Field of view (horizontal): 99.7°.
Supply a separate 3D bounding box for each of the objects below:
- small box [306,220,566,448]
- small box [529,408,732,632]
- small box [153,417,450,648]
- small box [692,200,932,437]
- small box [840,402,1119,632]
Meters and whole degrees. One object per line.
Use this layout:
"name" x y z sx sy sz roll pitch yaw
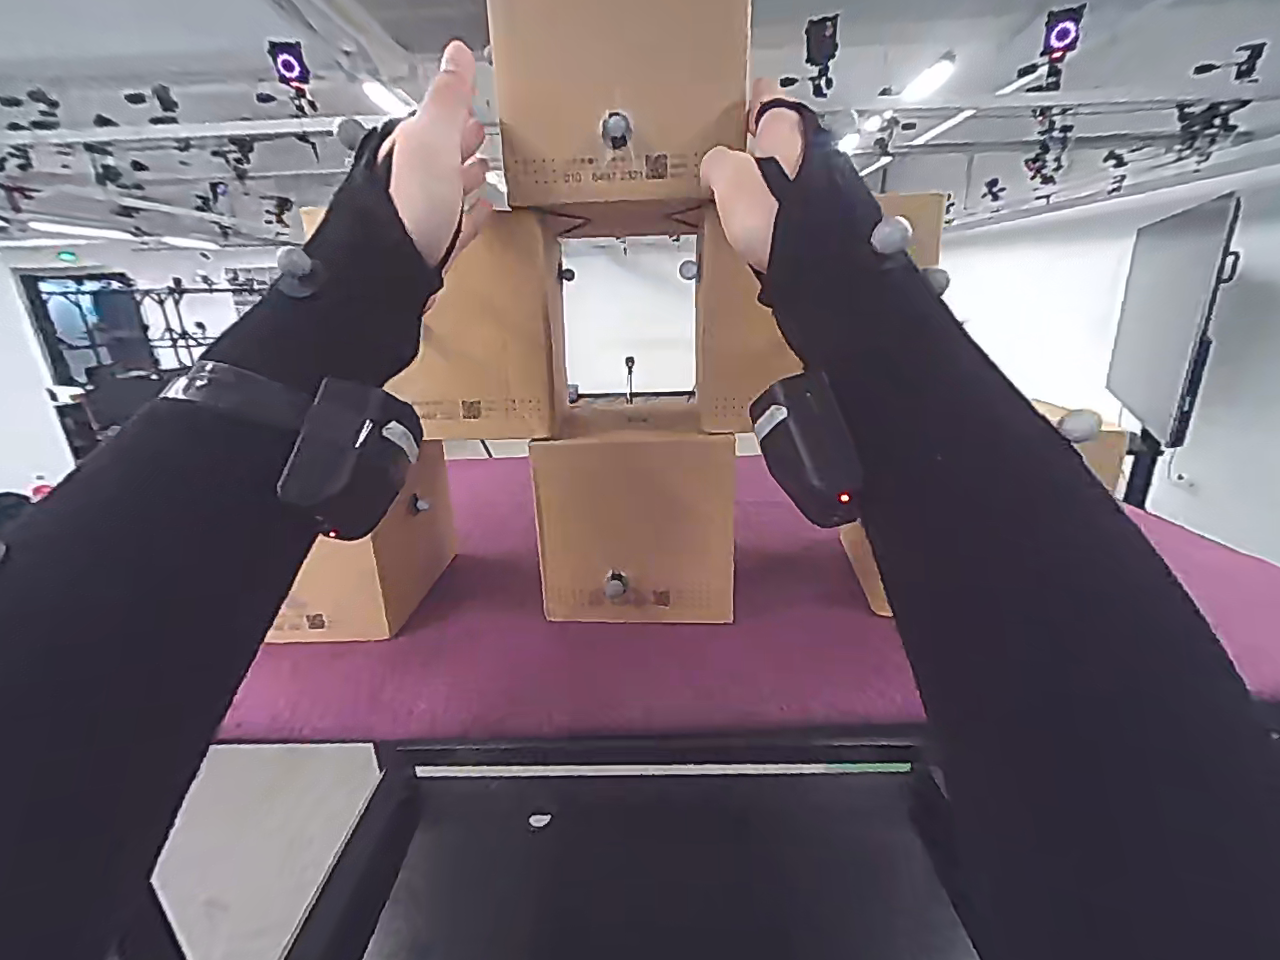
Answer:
"small box" -0.156 -0.124 0.482 0.168 0.176 0.179 -1 15 -3
"small box" -0.001 0.028 0.528 0.168 0.176 0.179 -1 18 4
"small box" -0.292 0.038 0.515 0.168 0.176 0.179 -2 18 1
"small box" 0.132 -0.134 0.479 0.168 0.176 0.179 -1 17 4
"small box" 0.292 0.022 0.514 0.168 0.176 0.179 0 17 10
